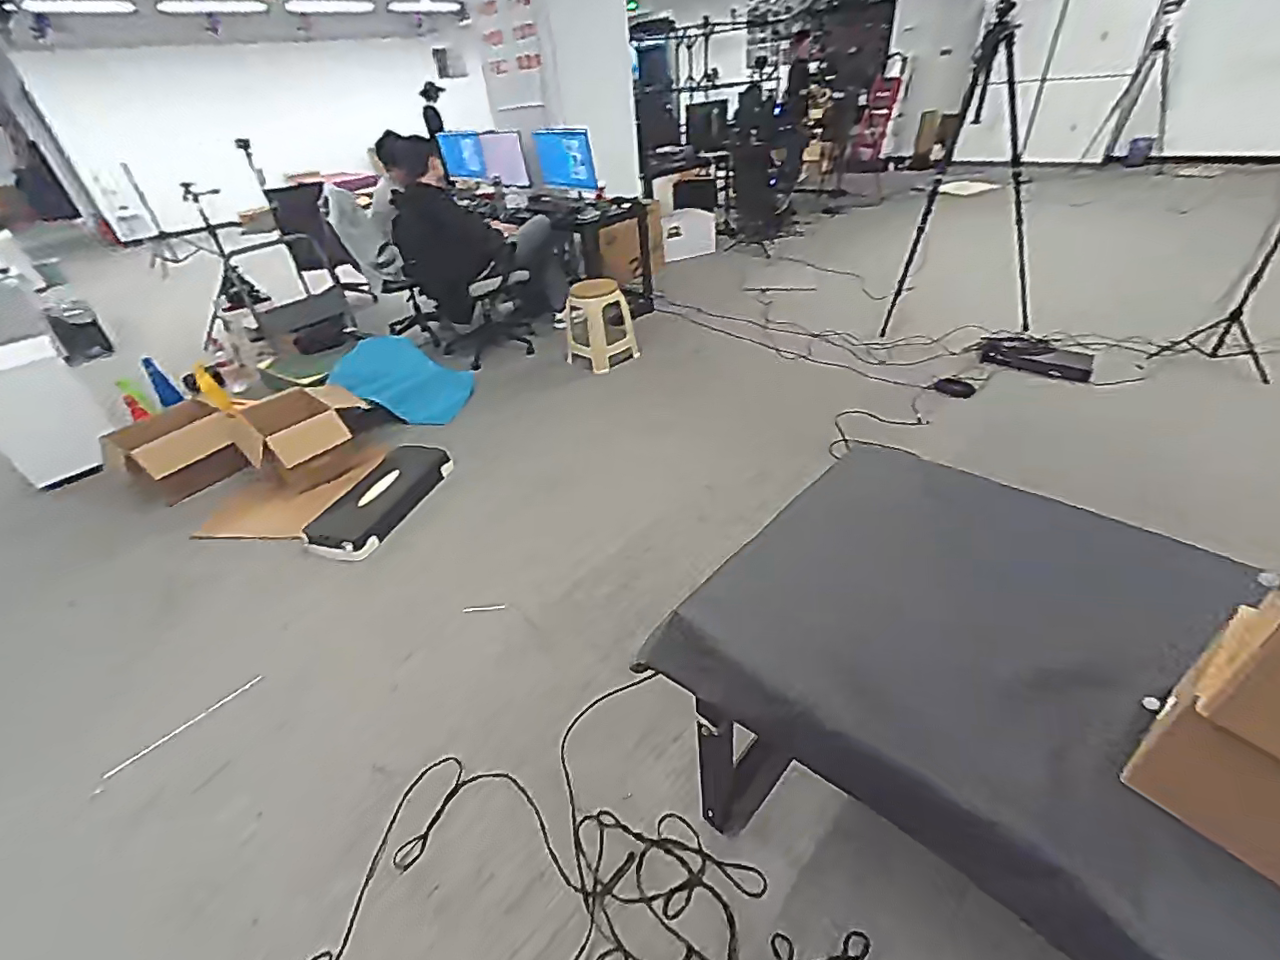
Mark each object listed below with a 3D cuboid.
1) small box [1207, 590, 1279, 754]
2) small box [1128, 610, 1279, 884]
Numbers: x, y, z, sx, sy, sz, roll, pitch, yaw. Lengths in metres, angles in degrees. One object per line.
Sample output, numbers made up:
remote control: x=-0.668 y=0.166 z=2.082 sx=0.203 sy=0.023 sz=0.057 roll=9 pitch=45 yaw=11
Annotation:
small box: x=0.610 y=0.148 z=0.417 sx=0.168 sy=0.176 sz=0.179 roll=-26 pitch=41 yaw=-26
small box: x=0.638 y=0.269 z=0.523 sx=0.168 sy=0.176 sz=0.179 roll=-27 pitch=40 yaw=-28
